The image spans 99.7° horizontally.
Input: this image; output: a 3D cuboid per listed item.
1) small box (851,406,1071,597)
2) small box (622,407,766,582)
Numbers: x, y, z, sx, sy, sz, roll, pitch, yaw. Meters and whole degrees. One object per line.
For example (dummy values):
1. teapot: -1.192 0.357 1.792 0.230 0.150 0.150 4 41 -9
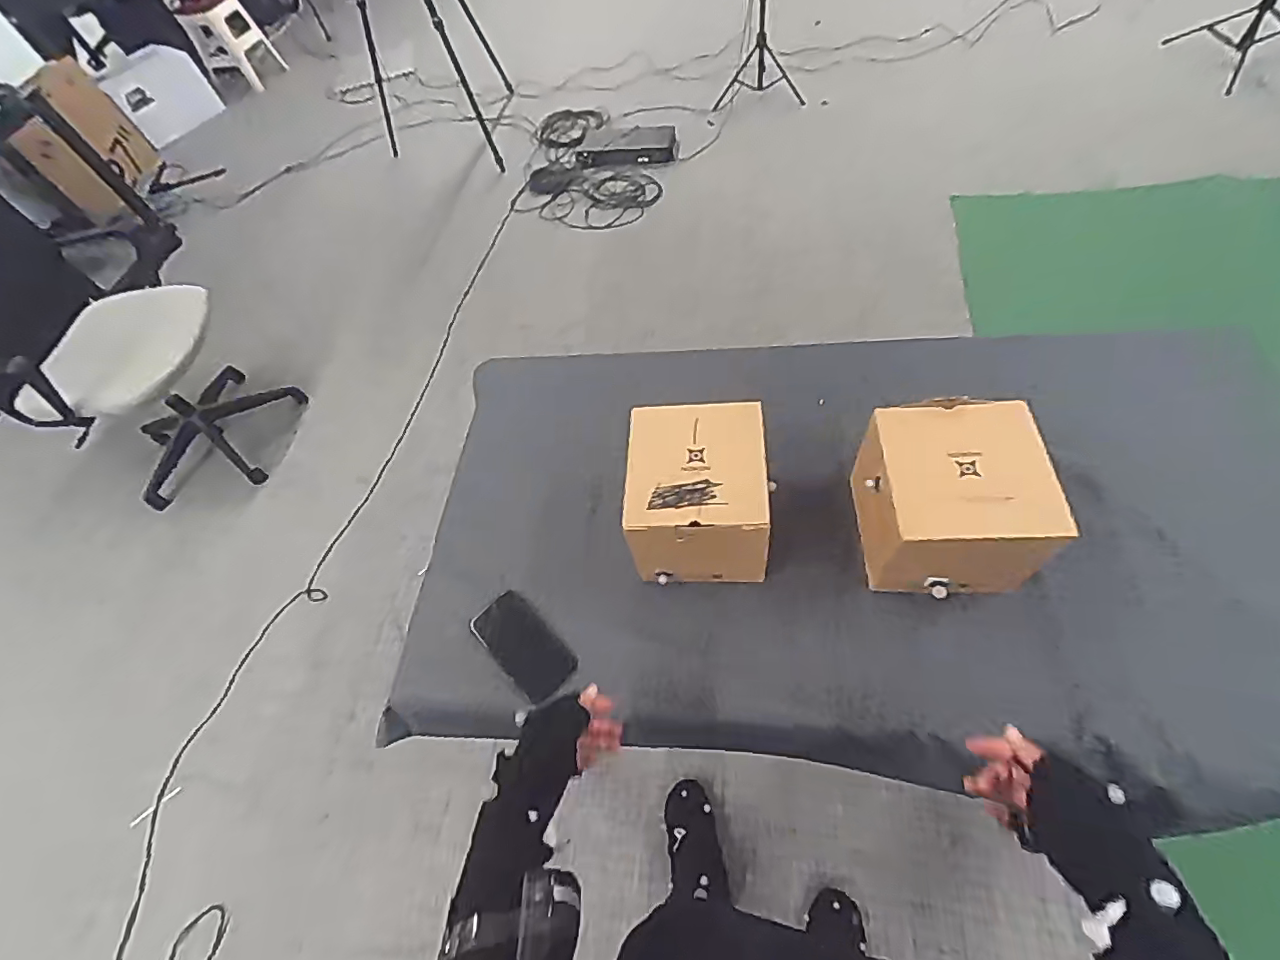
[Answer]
1. small box: 0.368 0.032 0.662 0.168 0.176 0.179 -3 59 9
2. small box: 0.077 0.026 0.713 0.168 0.176 0.179 -1 57 9
